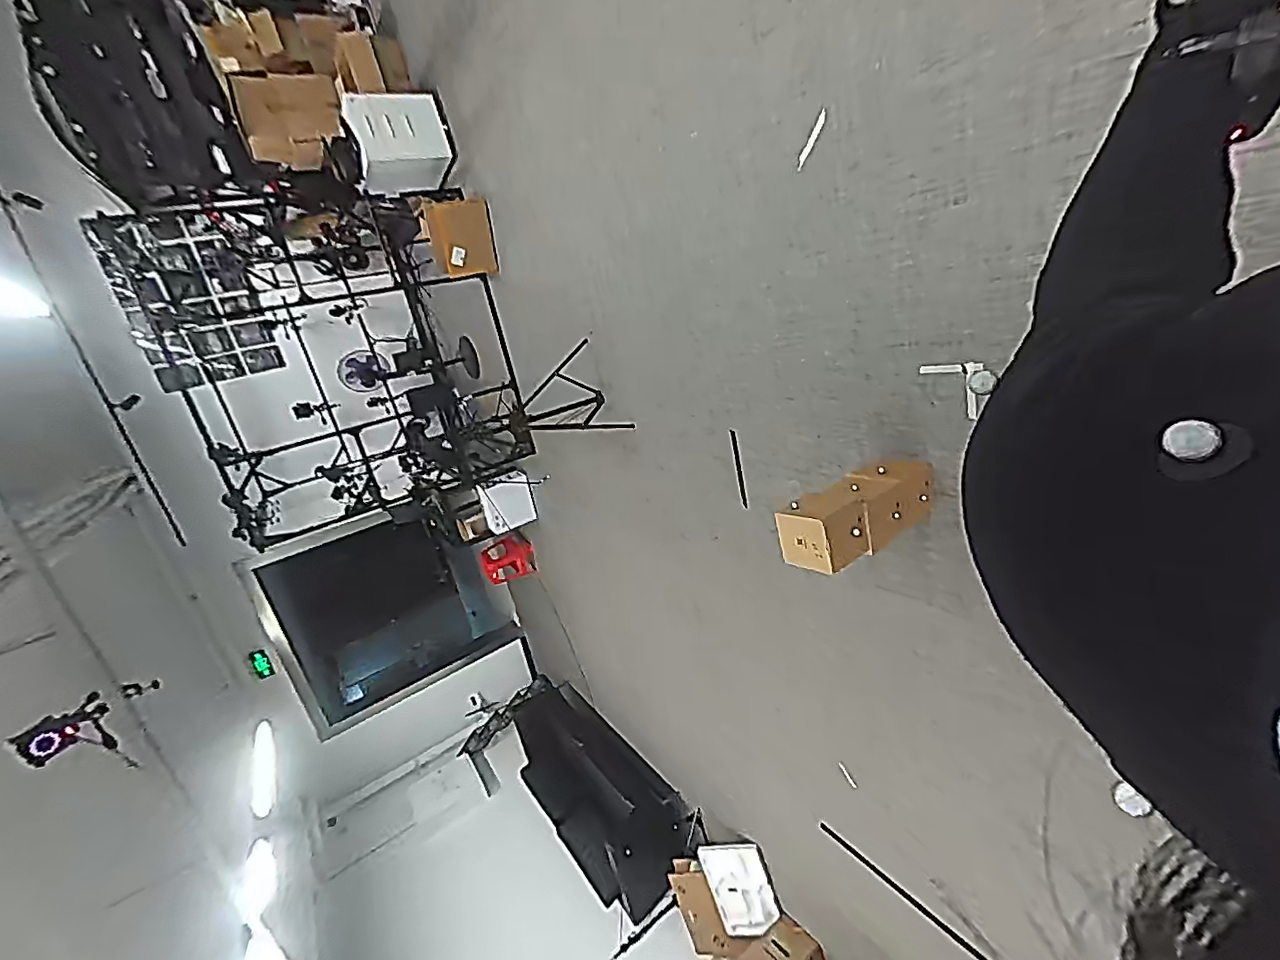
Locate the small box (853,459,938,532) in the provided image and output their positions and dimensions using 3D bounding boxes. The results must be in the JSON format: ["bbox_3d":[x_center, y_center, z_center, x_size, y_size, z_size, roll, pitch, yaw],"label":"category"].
[{"bbox_3d":[0.797,0.041,1.689,0.179,0.176,0.168,13,121,56],"label":"small box"}]

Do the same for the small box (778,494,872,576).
[{"bbox_3d":[0.526,0.148,1.535,0.179,0.176,0.168,6,116,57],"label":"small box"}]
